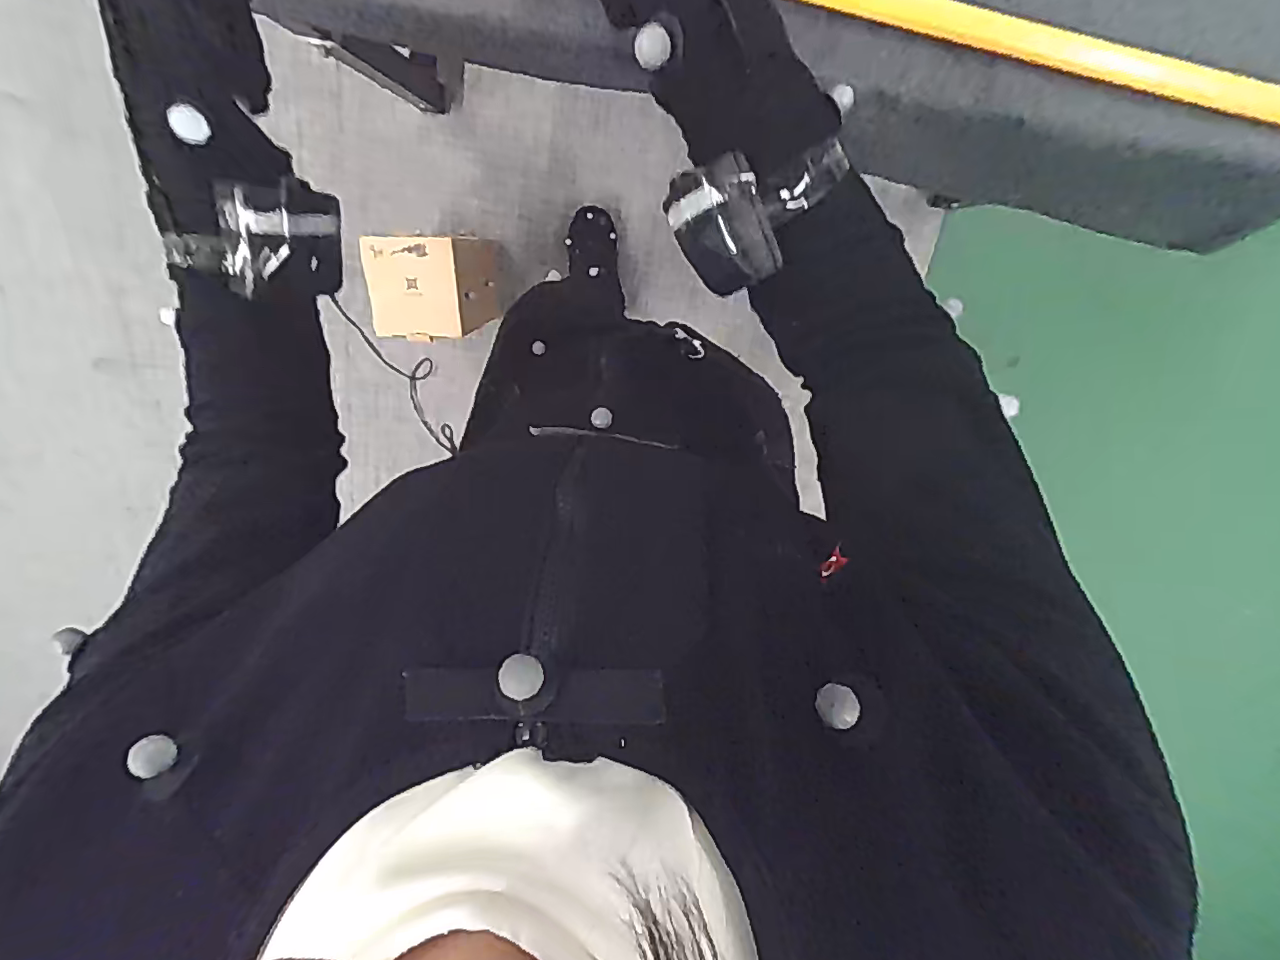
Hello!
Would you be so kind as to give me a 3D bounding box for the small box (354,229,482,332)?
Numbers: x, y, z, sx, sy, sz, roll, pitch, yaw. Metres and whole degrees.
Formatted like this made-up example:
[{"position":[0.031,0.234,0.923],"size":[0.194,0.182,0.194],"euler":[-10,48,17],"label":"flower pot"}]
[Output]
[{"position":[-0.419,-0.390,1.053],"size":[0.168,0.176,0.179],"euler":[-1,113,2],"label":"small box"}]
